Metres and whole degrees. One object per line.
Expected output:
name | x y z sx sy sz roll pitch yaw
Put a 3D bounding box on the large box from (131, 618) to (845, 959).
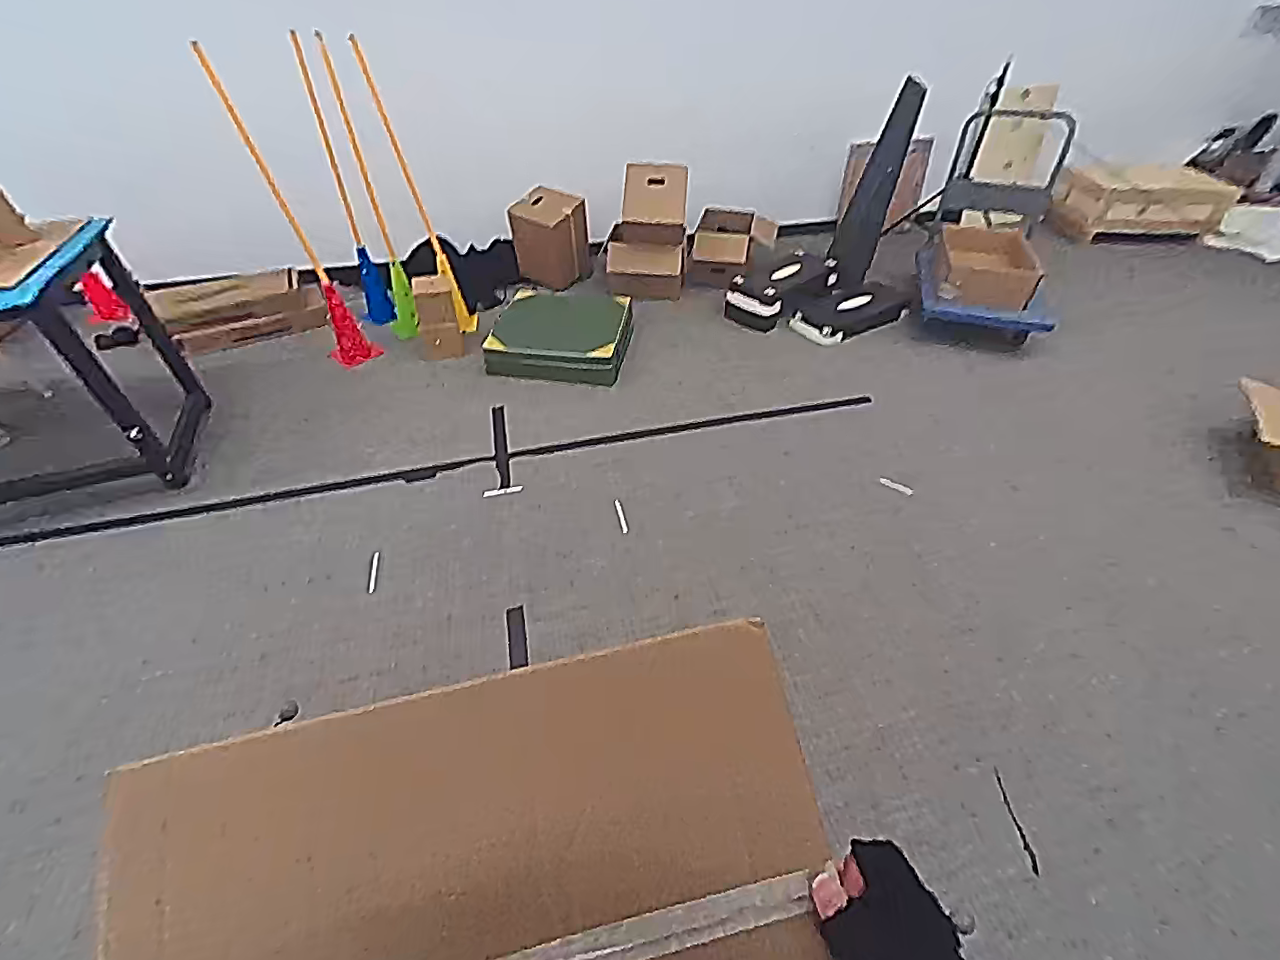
large box | -0.090 0.326 0.450 0.408 0.320 0.320 -11 73 -7
